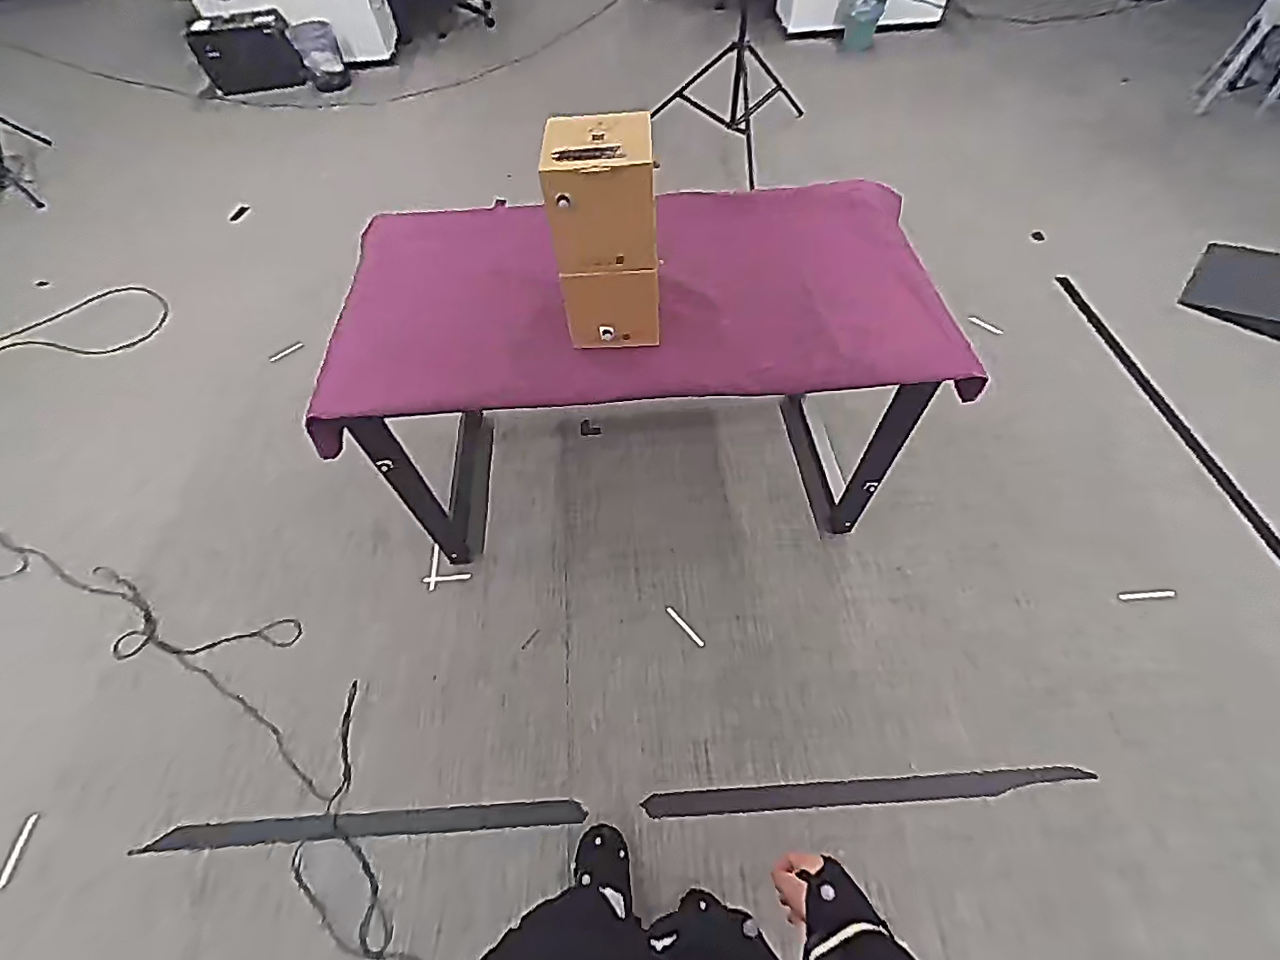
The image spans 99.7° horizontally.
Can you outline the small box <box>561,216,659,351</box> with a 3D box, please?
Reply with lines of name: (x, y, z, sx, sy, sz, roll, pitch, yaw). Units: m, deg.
small box: (-0.050, -0.366, 1.015, 0.168, 0.176, 0.179, -3, 57, 1)
